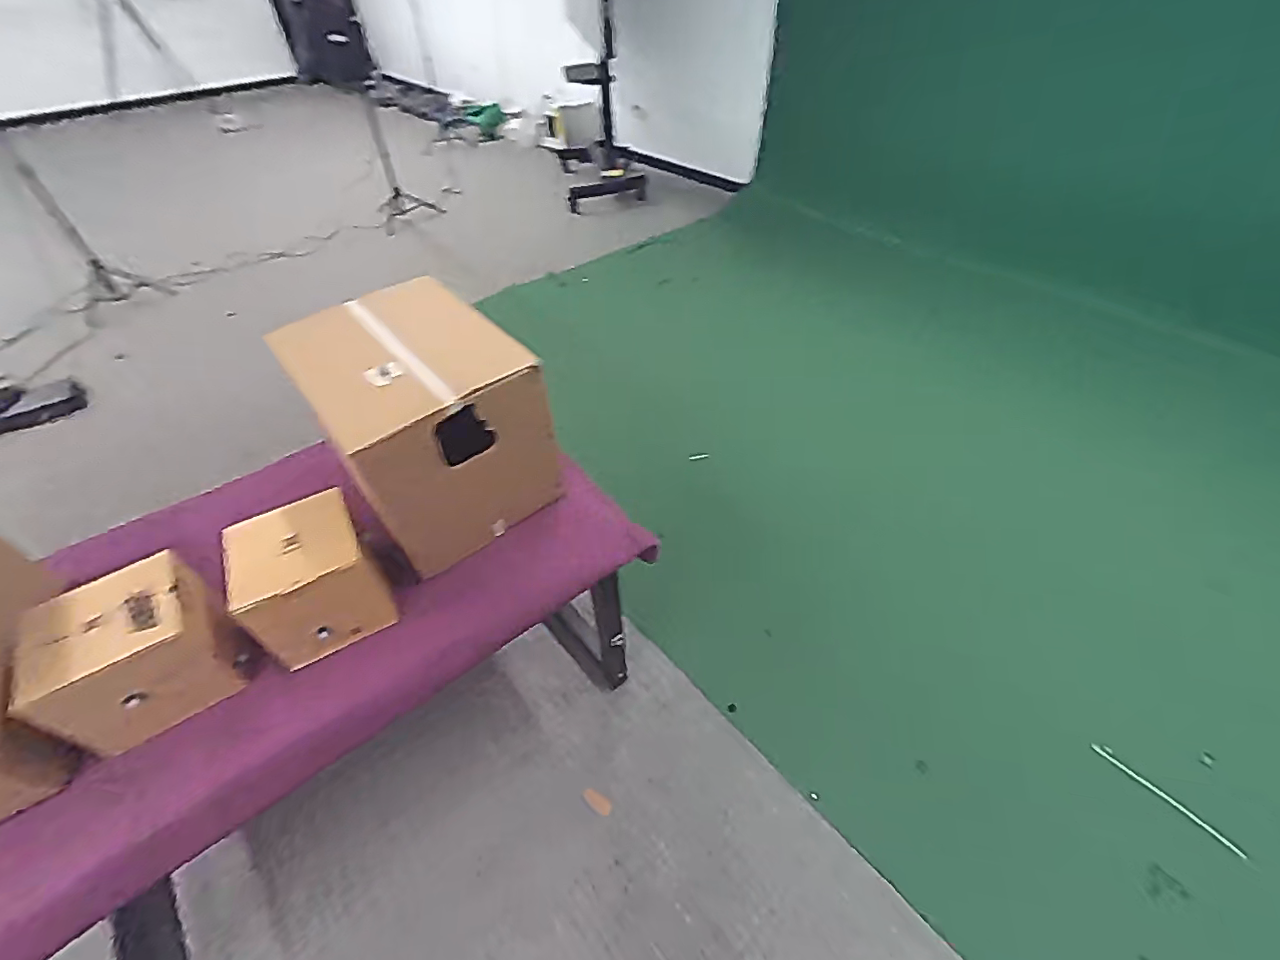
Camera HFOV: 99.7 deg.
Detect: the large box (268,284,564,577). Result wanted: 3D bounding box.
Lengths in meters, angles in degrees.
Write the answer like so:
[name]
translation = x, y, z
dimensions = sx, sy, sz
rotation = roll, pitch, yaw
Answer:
[large box]
translation = -0.393, -0.105, 1.001
dimensions = 0.320, 0.320, 0.408
rotation = -34, 55, -25
